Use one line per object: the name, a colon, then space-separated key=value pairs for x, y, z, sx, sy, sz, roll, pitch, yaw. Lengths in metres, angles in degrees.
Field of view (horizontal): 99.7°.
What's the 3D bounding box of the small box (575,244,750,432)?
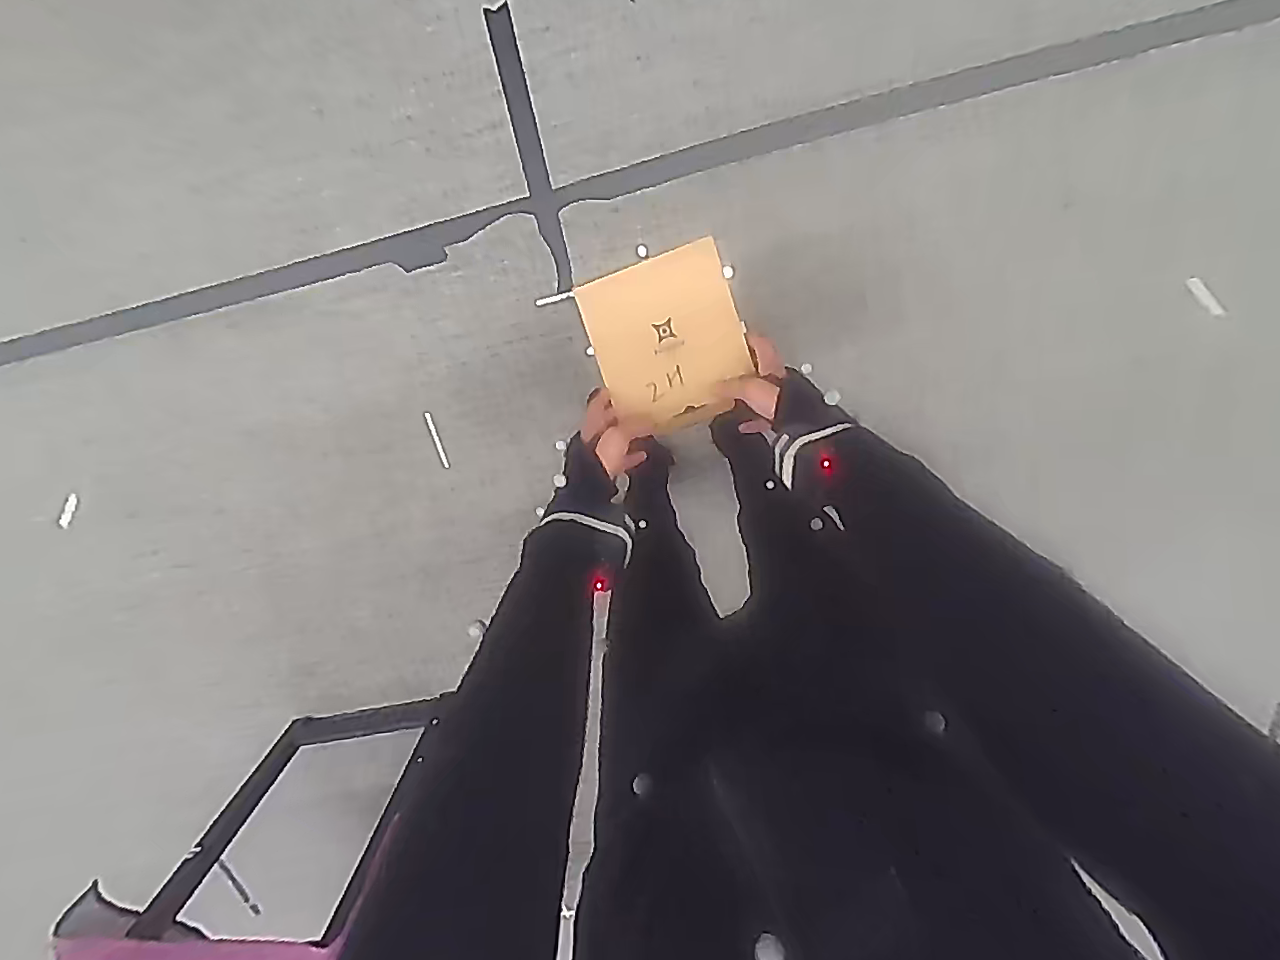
small box: x=0.029 y=-0.187 z=0.700 sx=0.168 sy=0.176 sz=0.179 roll=-18 pitch=112 yaw=8
